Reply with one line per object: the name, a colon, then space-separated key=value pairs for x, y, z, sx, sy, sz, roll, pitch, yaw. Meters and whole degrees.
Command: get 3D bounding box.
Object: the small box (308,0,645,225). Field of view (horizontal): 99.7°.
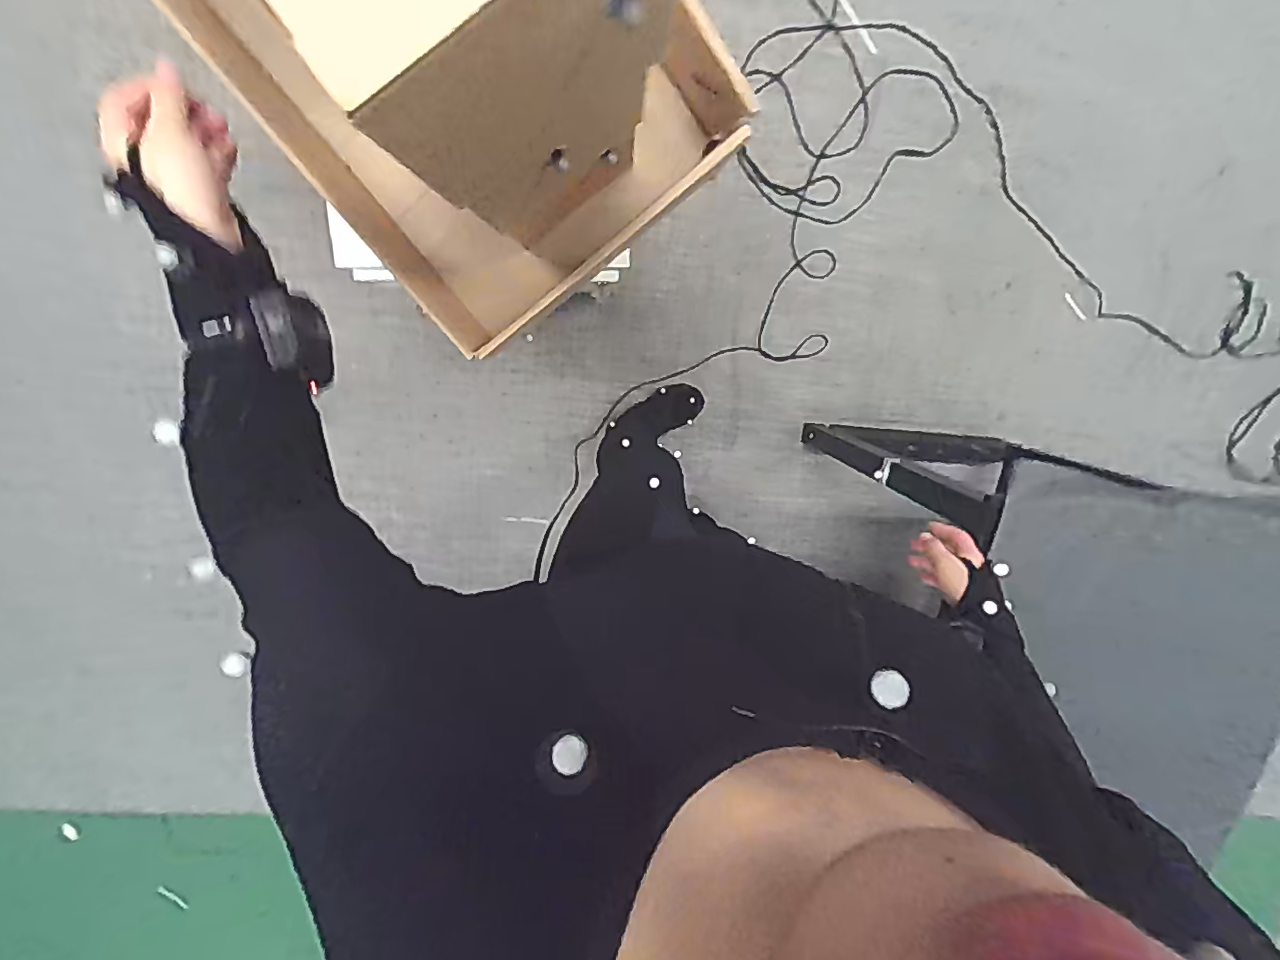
small box: x=-0.115 y=-0.339 z=0.431 sx=0.179 sy=0.176 sz=0.168 roll=-36 pitch=103 yaw=8
